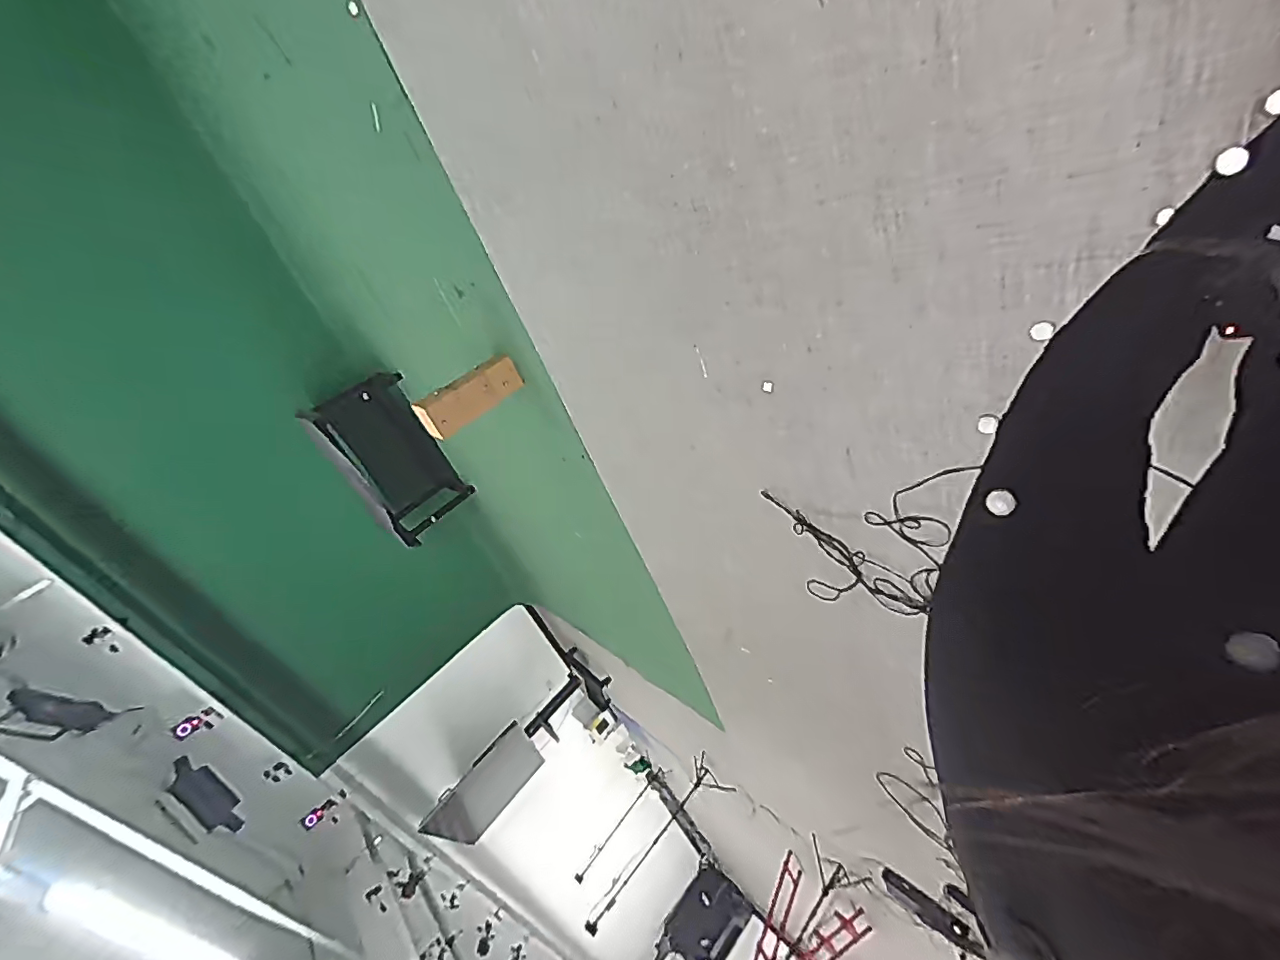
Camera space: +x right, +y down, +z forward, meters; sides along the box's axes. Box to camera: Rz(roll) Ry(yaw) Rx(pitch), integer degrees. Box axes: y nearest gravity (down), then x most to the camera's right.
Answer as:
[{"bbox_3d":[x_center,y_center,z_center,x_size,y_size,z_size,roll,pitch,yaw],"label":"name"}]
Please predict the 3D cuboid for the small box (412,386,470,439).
[{"bbox_3d":[-0.938,-0.322,2.563,0.168,0.176,0.179,18,141,45],"label":"small box"}]

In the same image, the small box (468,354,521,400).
[{"bbox_3d":[-0.721,-0.520,2.712,0.179,0.176,0.168,17,141,48],"label":"small box"}]
